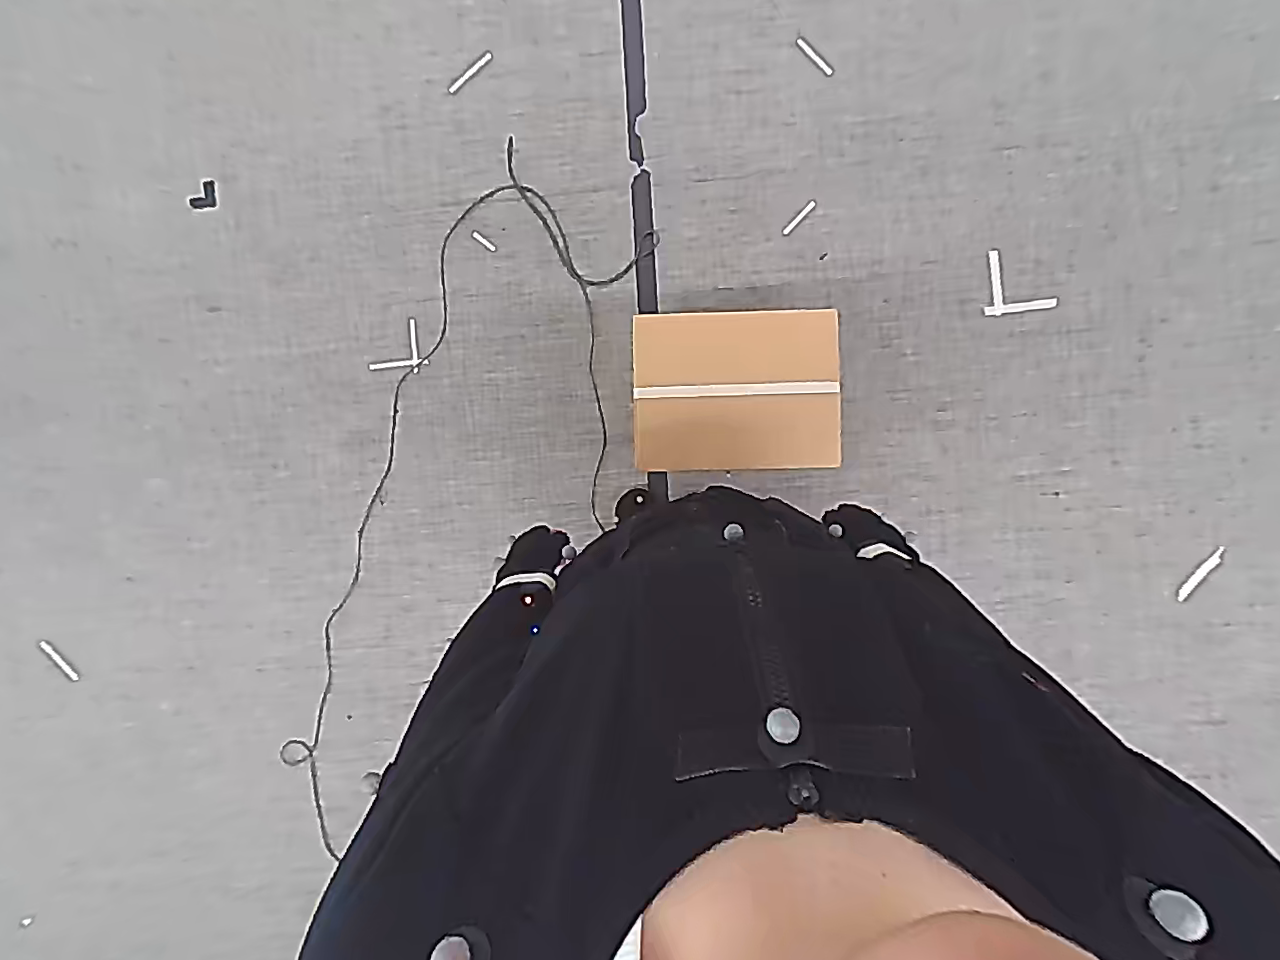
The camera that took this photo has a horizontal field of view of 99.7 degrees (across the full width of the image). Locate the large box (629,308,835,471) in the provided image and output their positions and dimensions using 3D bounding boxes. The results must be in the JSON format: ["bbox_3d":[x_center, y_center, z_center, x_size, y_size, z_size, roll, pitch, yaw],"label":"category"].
[{"bbox_3d":[0.186,-0.183,1.222,0.408,0.320,0.320,-1,91,1],"label":"large box"}]
